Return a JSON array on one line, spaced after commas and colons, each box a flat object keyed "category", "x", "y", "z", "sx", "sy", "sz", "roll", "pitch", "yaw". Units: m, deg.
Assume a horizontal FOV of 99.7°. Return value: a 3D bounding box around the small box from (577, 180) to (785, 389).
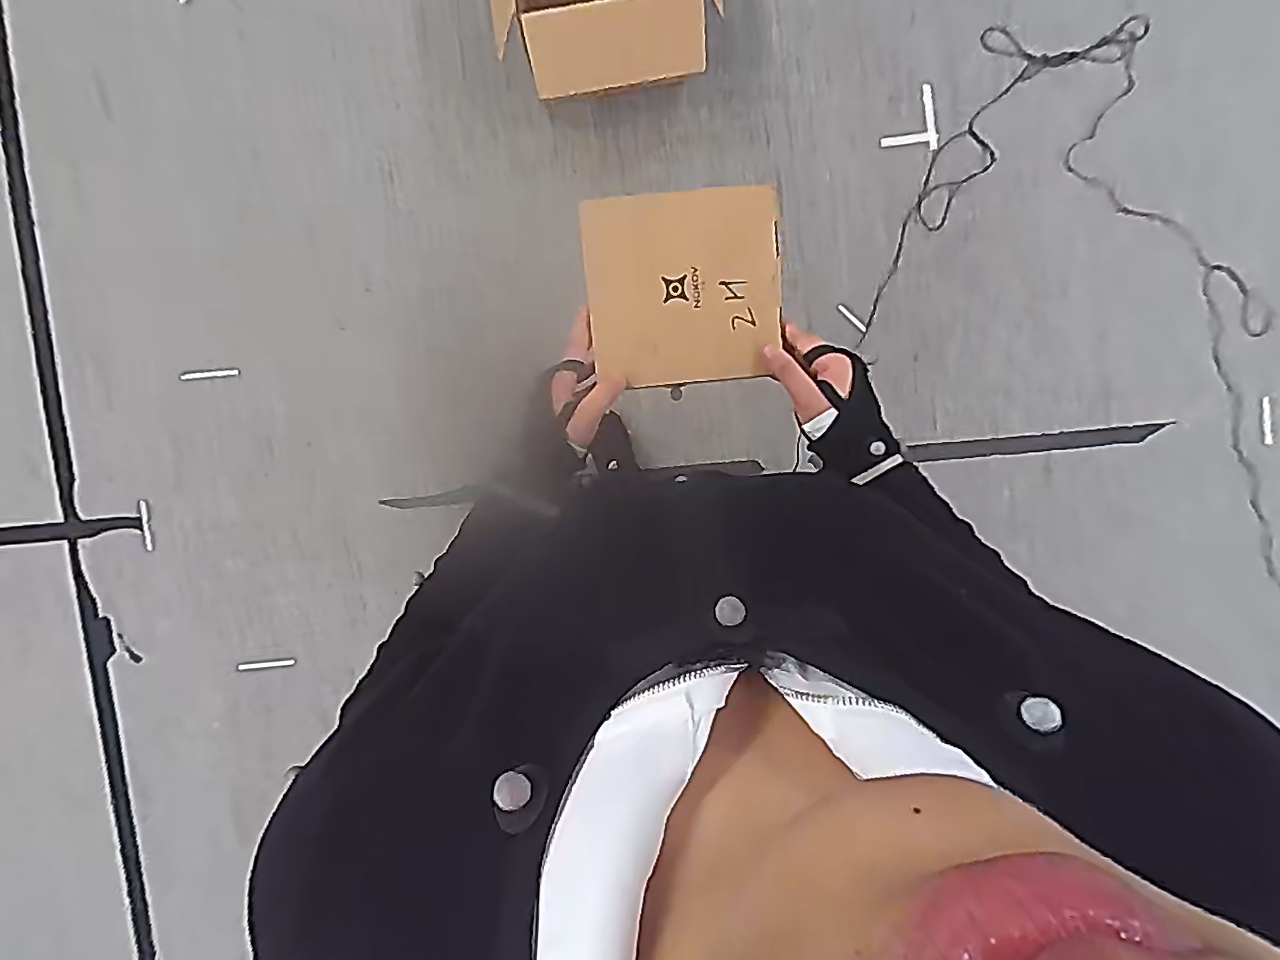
[{"category": "small box", "x": 0.036, "y": -0.183, "z": 0.553, "sx": 0.179, "sy": 0.176, "sz": 0.168, "roll": -6, "pitch": 100, "yaw": -2}]
